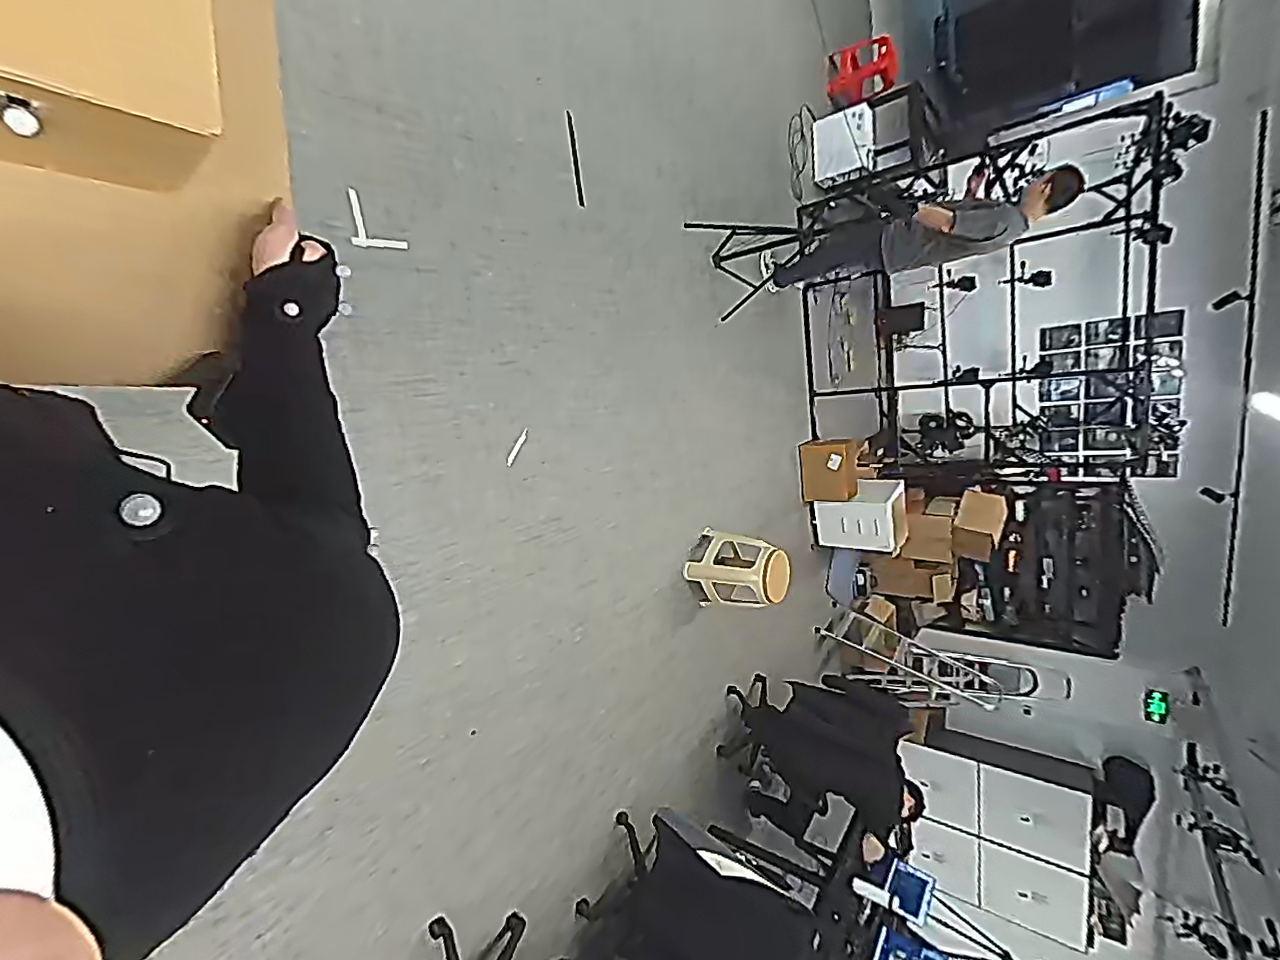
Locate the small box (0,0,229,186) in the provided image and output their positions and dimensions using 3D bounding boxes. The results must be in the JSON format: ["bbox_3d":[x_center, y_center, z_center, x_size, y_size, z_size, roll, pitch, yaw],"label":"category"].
[{"bbox_3d":[-0.413,-0.322,0.367,0.179,0.176,0.168,-9,103,-47],"label":"small box"}]
